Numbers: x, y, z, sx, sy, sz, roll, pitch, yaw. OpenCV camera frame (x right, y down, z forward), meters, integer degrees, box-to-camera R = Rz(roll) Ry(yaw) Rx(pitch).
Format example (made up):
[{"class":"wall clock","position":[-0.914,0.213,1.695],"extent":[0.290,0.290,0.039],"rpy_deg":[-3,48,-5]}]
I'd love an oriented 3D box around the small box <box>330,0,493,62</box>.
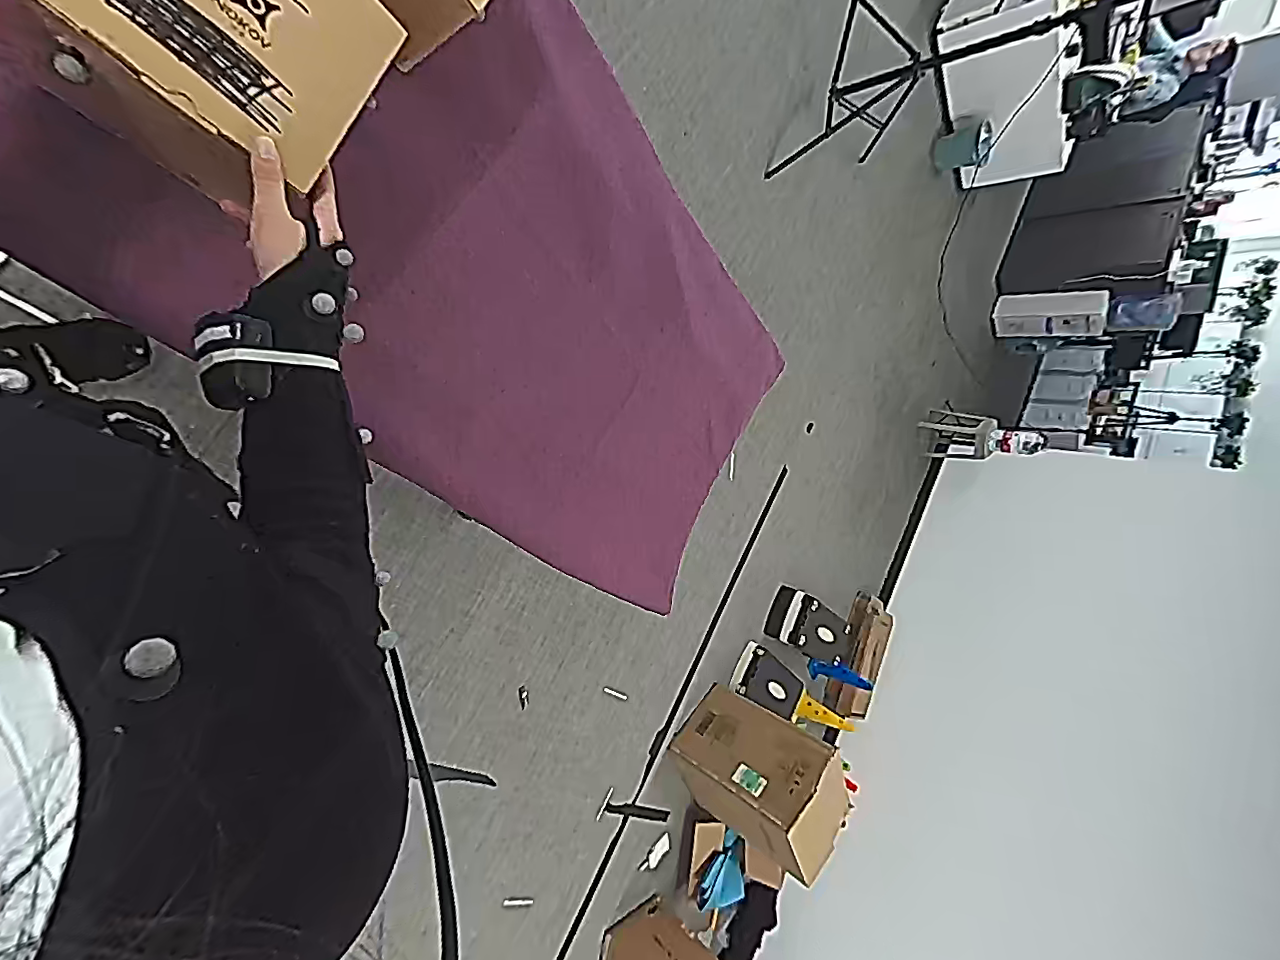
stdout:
[{"class":"small box","position":[-0.225,-0.543,0.511],"extent":[0.179,0.176,0.168],"rpy_deg":[39,72,-44]}]
